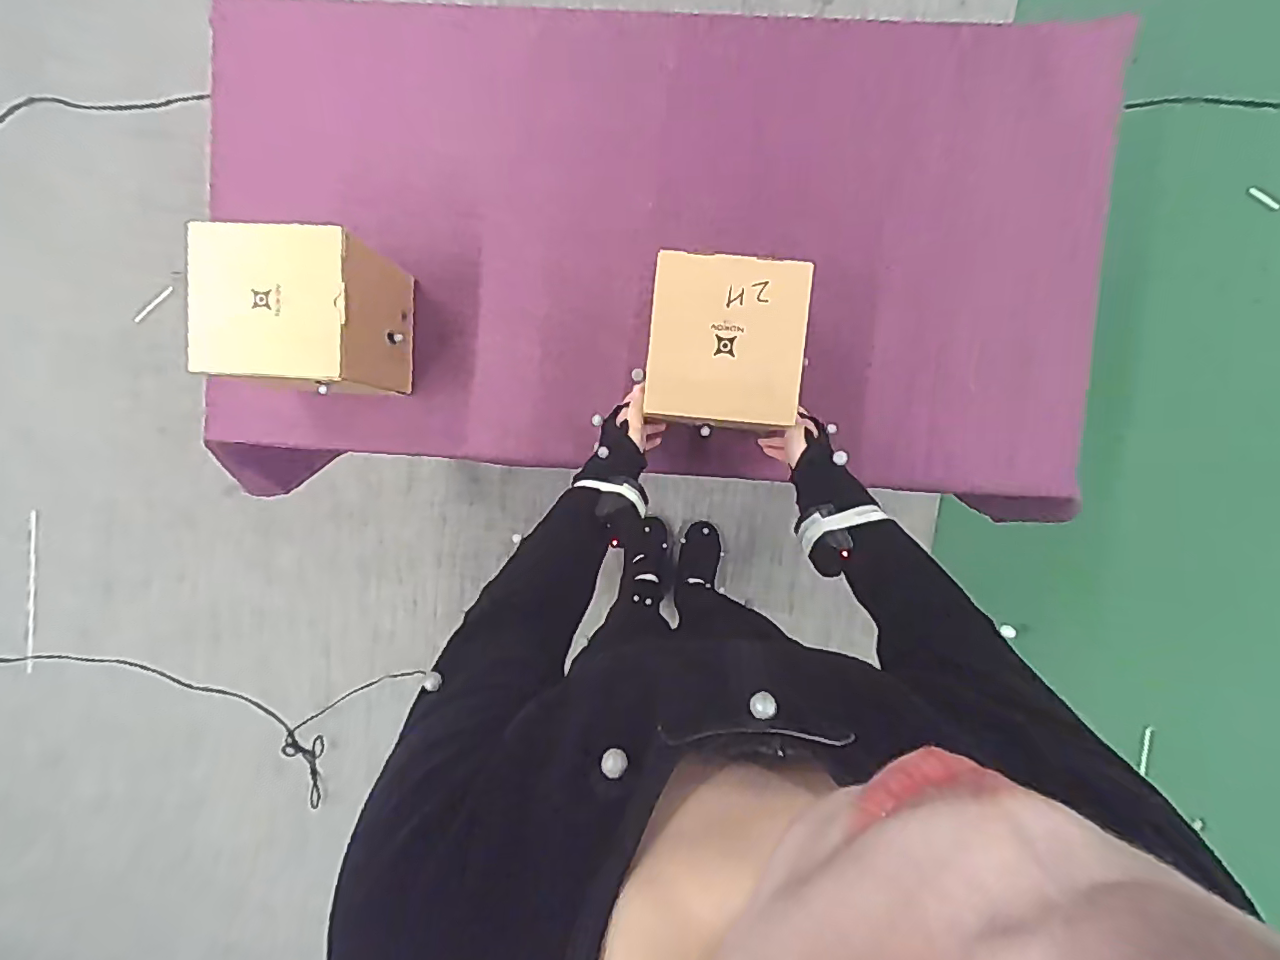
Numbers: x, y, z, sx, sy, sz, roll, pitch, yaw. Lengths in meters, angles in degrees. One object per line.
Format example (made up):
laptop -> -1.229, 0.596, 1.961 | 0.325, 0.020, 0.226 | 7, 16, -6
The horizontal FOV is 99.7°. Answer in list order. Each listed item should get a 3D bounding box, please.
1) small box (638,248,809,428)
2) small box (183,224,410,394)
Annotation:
small box -> 0.091, -0.155, 0.647 | 0.168, 0.176, 0.179 | 5, 93, 3
small box -> -0.411, -0.198, 0.670 | 0.179, 0.176, 0.168 | 2, 93, 2
